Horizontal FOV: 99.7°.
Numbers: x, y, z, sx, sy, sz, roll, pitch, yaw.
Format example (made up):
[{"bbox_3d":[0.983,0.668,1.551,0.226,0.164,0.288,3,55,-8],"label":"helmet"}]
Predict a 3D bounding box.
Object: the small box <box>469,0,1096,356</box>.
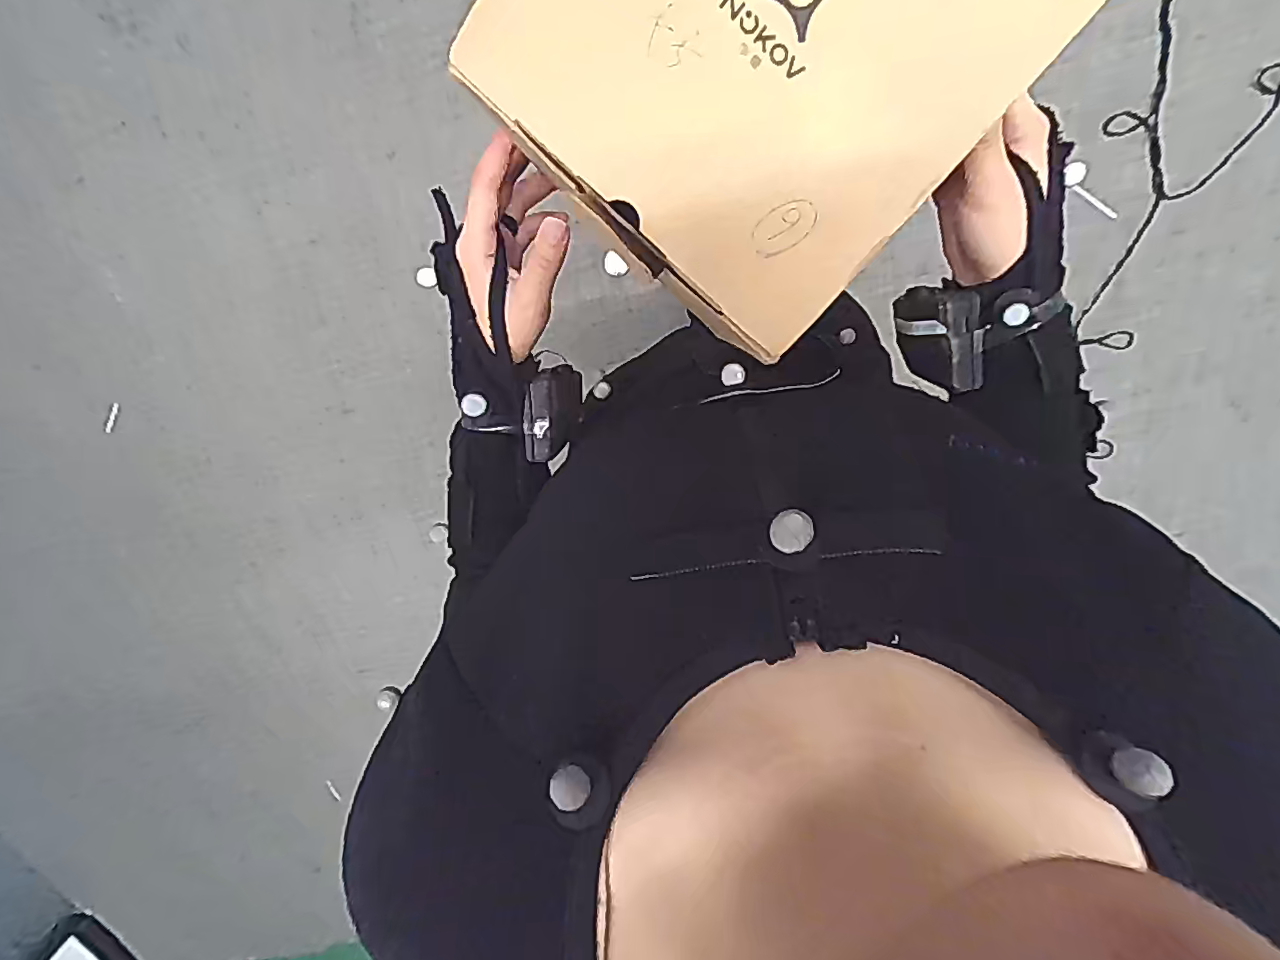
[{"bbox_3d":[0.053,-0.187,0.276,0.168,0.176,0.179,39,105,-9],"label":"small box"}]
